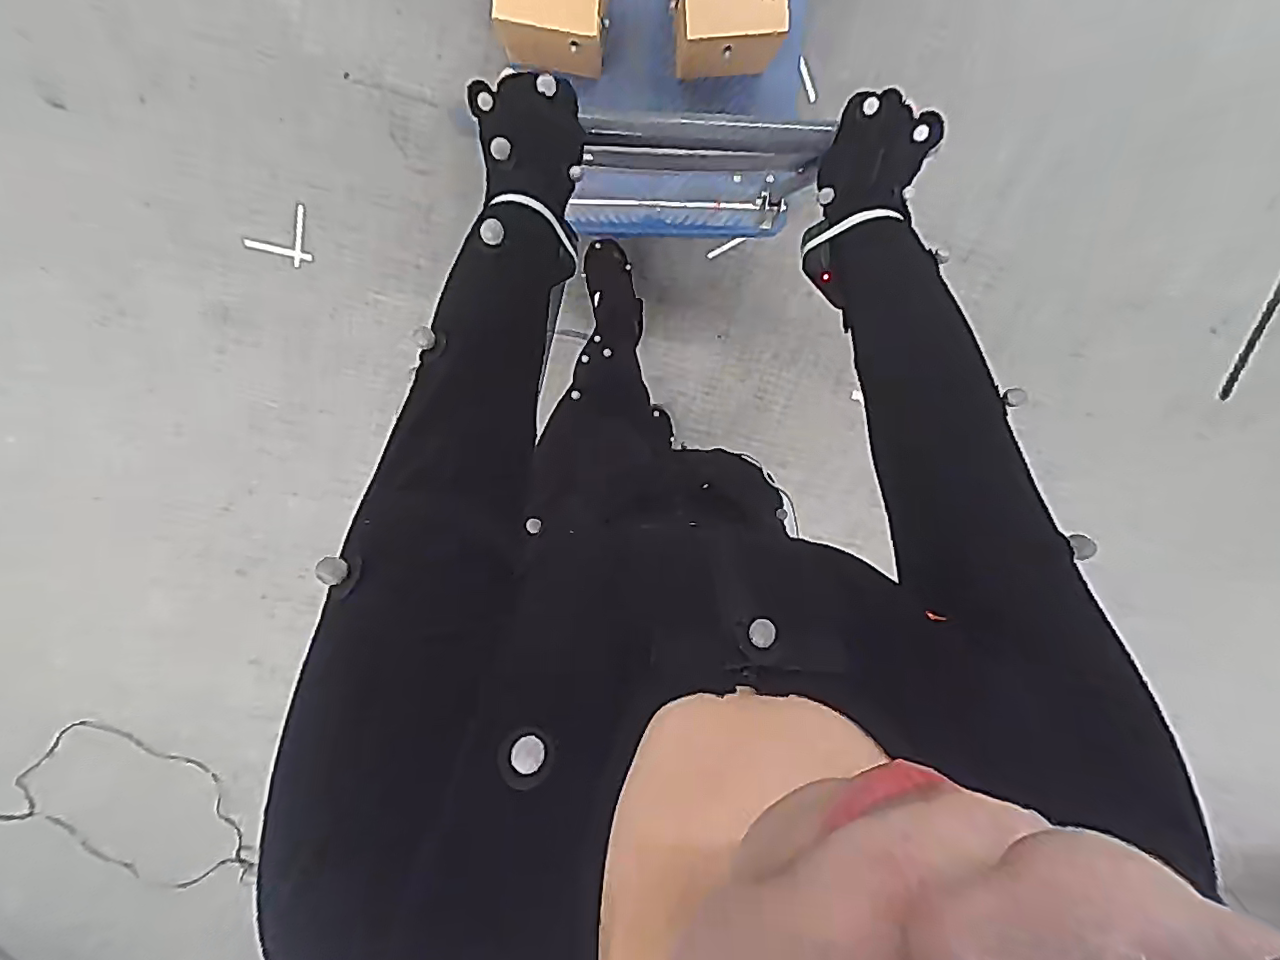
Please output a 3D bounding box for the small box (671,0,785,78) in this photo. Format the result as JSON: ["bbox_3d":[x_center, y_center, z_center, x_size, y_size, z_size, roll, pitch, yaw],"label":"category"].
[{"bbox_3d":[0.147,-0.841,0.955,0.179,0.176,0.168,-5,108,-1],"label":"small box"}]

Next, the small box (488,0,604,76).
[{"bbox_3d":[-0.156,-0.840,0.942,0.179,0.176,0.168,5,107,-6],"label":"small box"}]
